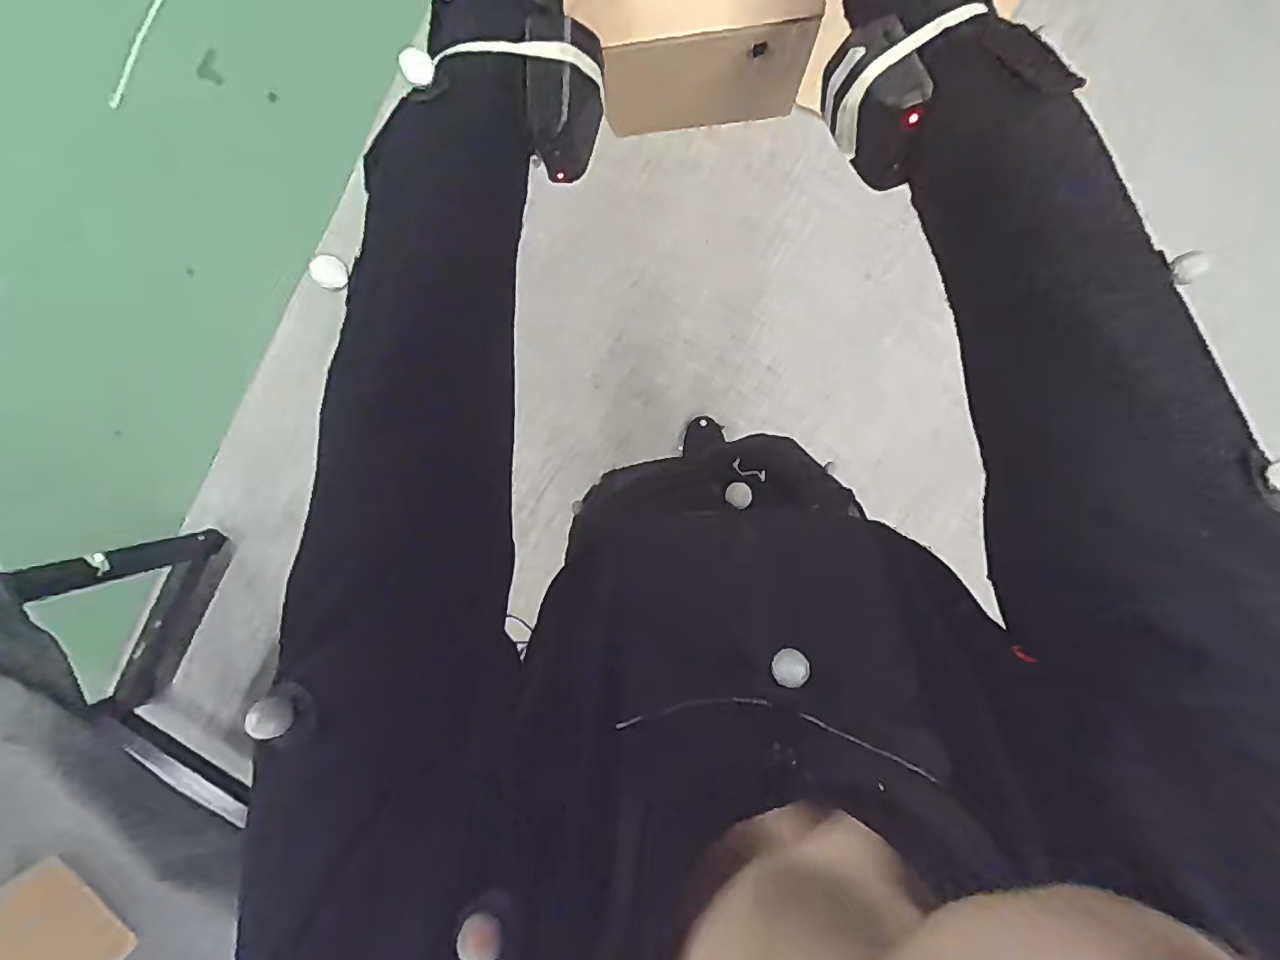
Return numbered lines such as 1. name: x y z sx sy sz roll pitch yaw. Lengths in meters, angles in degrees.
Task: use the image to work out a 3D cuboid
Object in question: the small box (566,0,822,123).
1. small box: 0.043 -0.404 0.419 0.179 0.176 0.168 -2 105 8
